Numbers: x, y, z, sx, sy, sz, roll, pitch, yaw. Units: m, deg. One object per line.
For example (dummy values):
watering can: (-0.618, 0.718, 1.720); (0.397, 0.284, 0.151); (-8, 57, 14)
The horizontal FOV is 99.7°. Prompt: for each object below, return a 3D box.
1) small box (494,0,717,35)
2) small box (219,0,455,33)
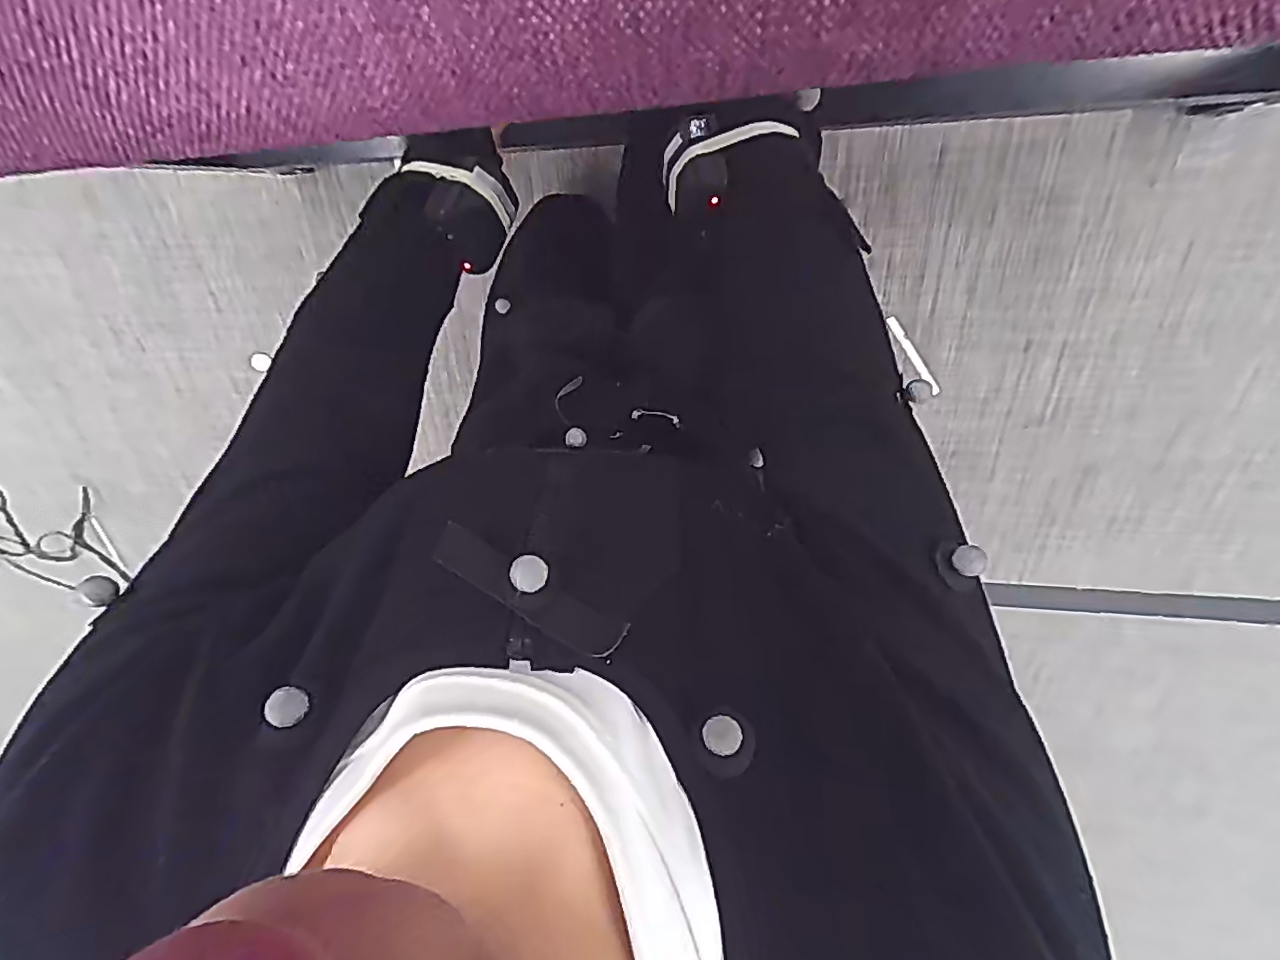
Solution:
small box: (-0.022, -0.460, 0.416); (0.179, 0.176, 0.168); (-2, 129, 8)
small box: (-0.276, -0.515, 0.470); (0.179, 0.176, 0.168); (0, 120, 8)
